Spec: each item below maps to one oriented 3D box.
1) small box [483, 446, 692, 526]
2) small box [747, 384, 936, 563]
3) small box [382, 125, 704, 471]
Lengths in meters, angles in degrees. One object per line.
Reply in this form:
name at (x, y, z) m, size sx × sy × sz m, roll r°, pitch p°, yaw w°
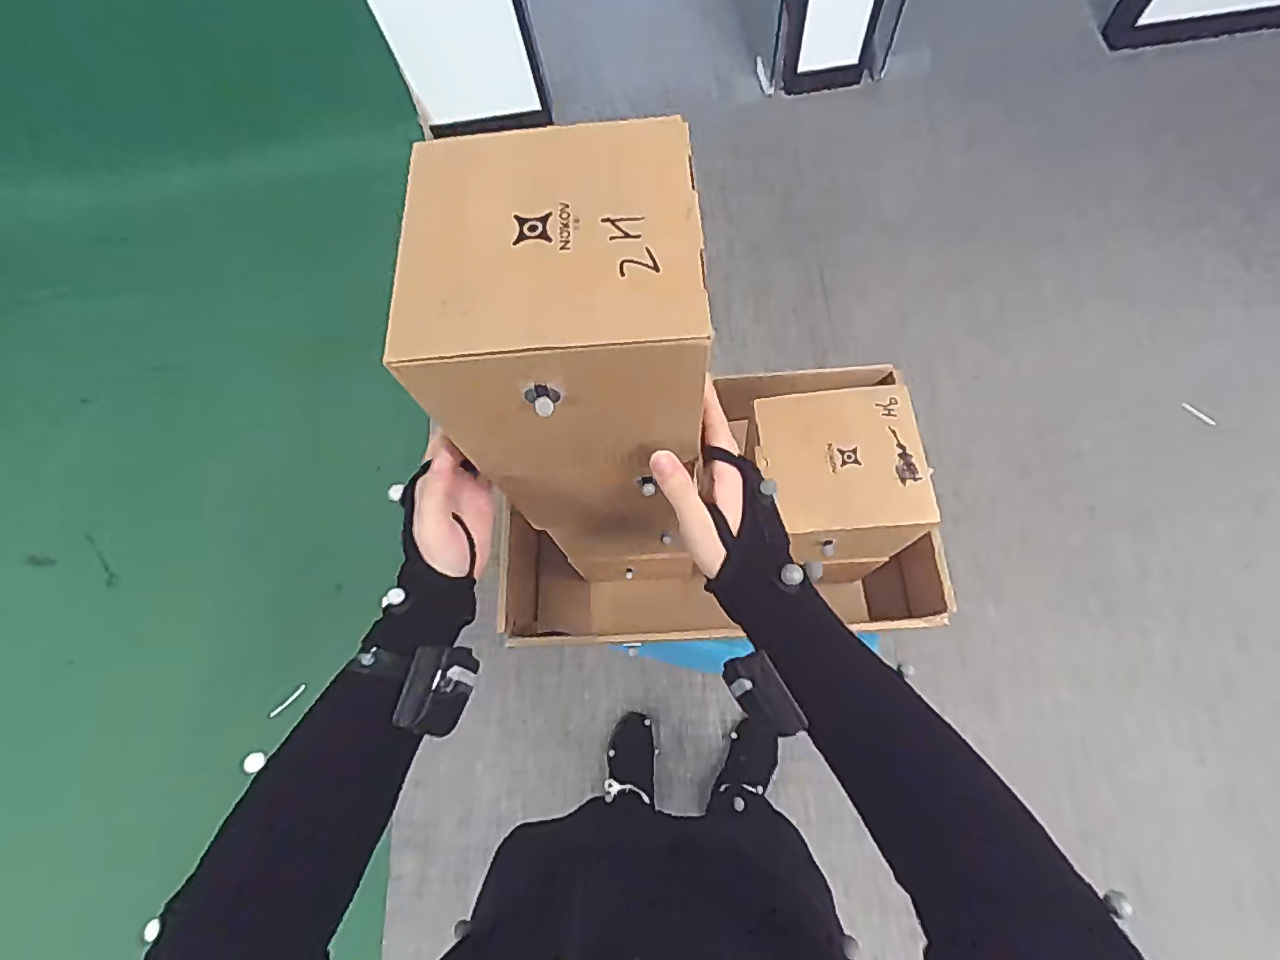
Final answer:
small box at (-0.041, -0.055, 0.541) m, size 0.179 × 0.176 × 0.168 m, roll -3°, pitch 69°, yaw 2°
small box at (0.227, 0.003, 0.665) m, size 0.179 × 0.176 × 0.168 m, roll -6°, pitch 70°, yaw 7°
small box at (-0.050, -0.112, 0.386) m, size 0.179 × 0.176 × 0.168 m, roll -3°, pitch 69°, yaw 2°
